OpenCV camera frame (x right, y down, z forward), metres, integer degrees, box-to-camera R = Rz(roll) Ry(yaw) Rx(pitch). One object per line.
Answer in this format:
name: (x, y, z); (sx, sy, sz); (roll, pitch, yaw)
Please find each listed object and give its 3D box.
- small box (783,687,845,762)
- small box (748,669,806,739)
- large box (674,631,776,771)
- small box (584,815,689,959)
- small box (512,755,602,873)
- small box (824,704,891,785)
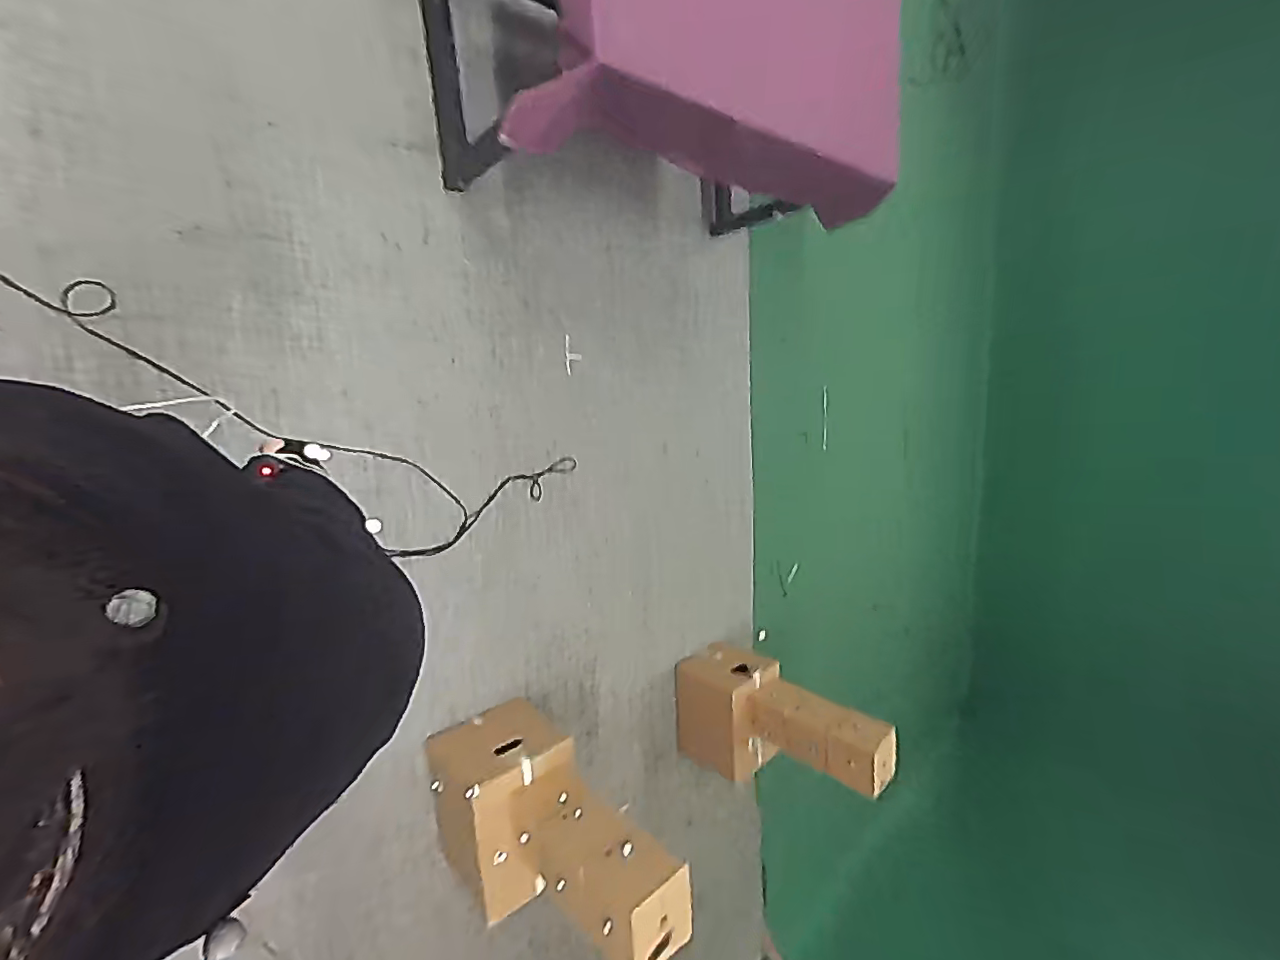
small box: (0.646, 0.894, 2.005); (0.168, 0.176, 0.179); (-18, 108, -39)
small box: (0.536, 0.872, 2.125); (0.179, 0.176, 0.168); (-14, 105, -41)
large box: (0.364, 0.922, 2.305); (0.320, 0.320, 0.408); (-12, 104, -41)
small box: (-0.009, 0.892, 1.191); (0.168, 0.176, 0.179); (-10, 100, -42)
small box: (-0.225, 0.877, 1.439); (0.179, 0.176, 0.168); (-14, 104, -42)
small box: (0.755, 0.908, 1.883); (0.168, 0.176, 0.179); (-16, 105, -40)
